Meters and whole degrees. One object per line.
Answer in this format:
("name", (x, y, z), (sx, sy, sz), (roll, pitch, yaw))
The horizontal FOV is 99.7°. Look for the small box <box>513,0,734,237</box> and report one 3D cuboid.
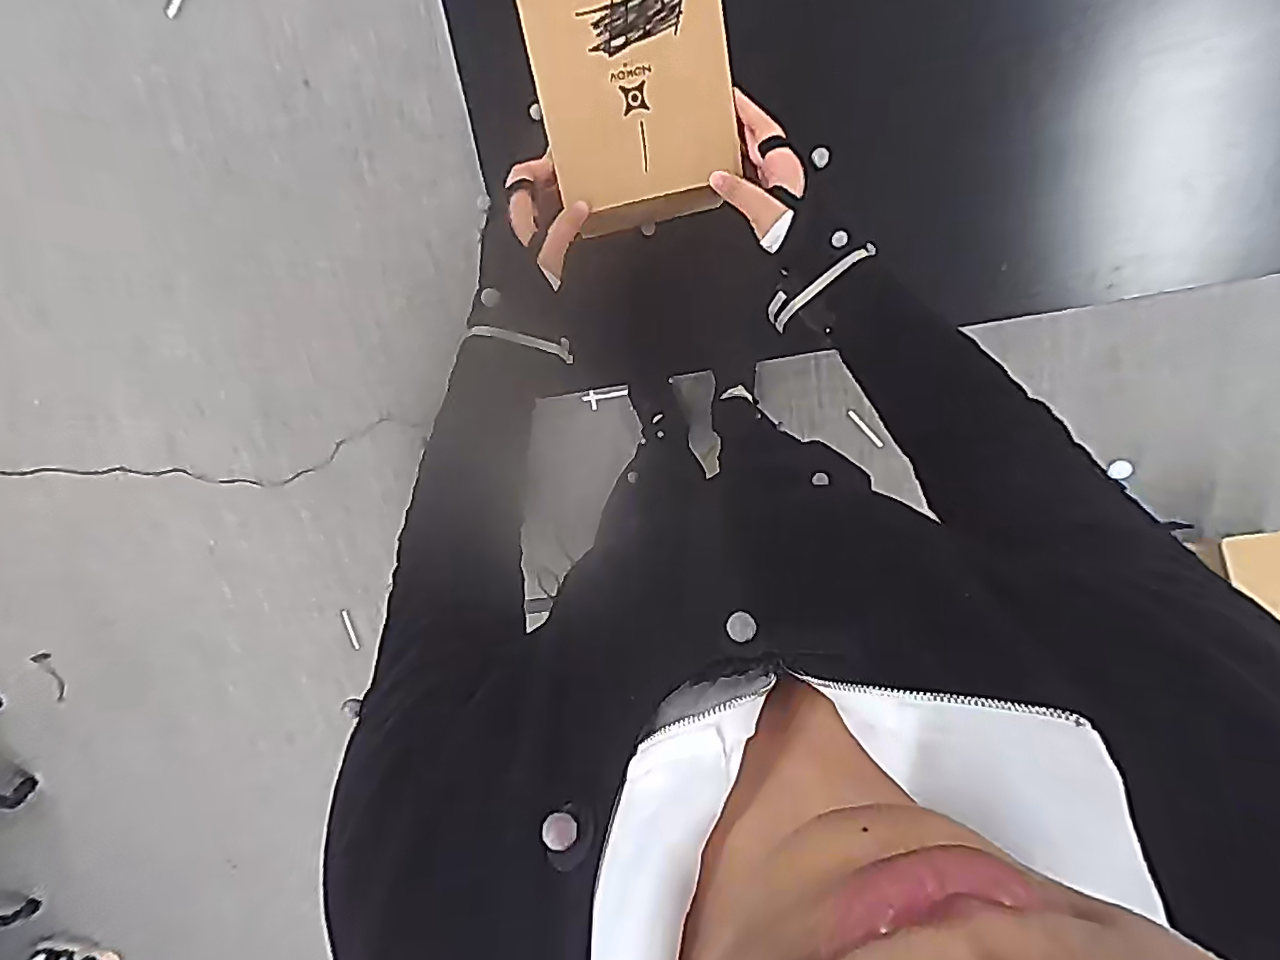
("small box", (-0.012, -0.360, 0.541), (0.168, 0.176, 0.179), (-11, 109, 4))
